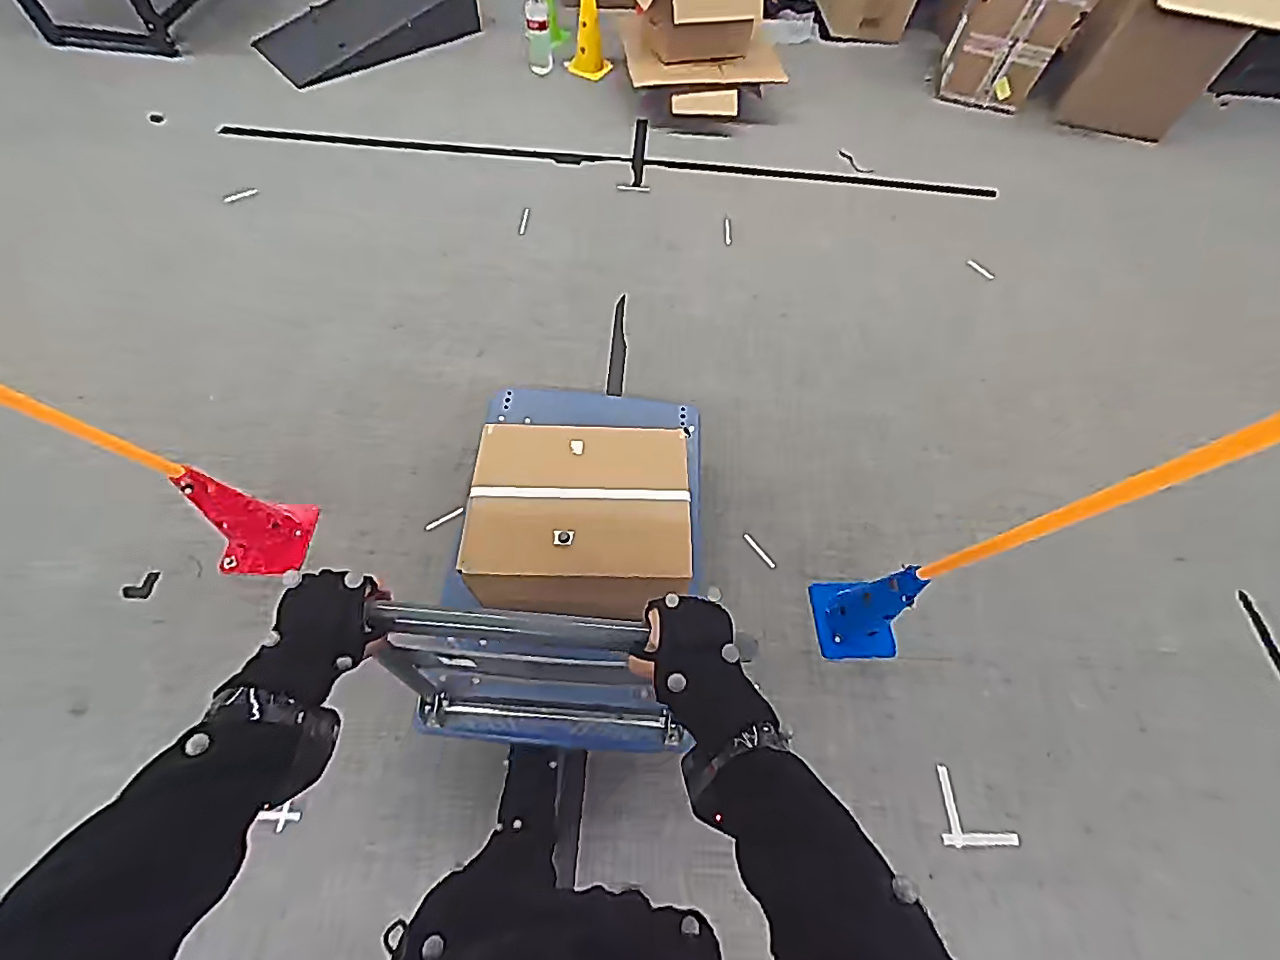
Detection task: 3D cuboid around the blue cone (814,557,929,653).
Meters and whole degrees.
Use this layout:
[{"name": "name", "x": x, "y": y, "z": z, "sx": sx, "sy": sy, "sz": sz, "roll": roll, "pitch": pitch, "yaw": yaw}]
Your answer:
[{"name": "blue cone", "x": 0.574, "y": 0.276, "z": 1.277, "sx": 0.193, "sy": 0.380, "sz": 0.192, "roll": 1, "pitch": 60, "yaw": -4}]
